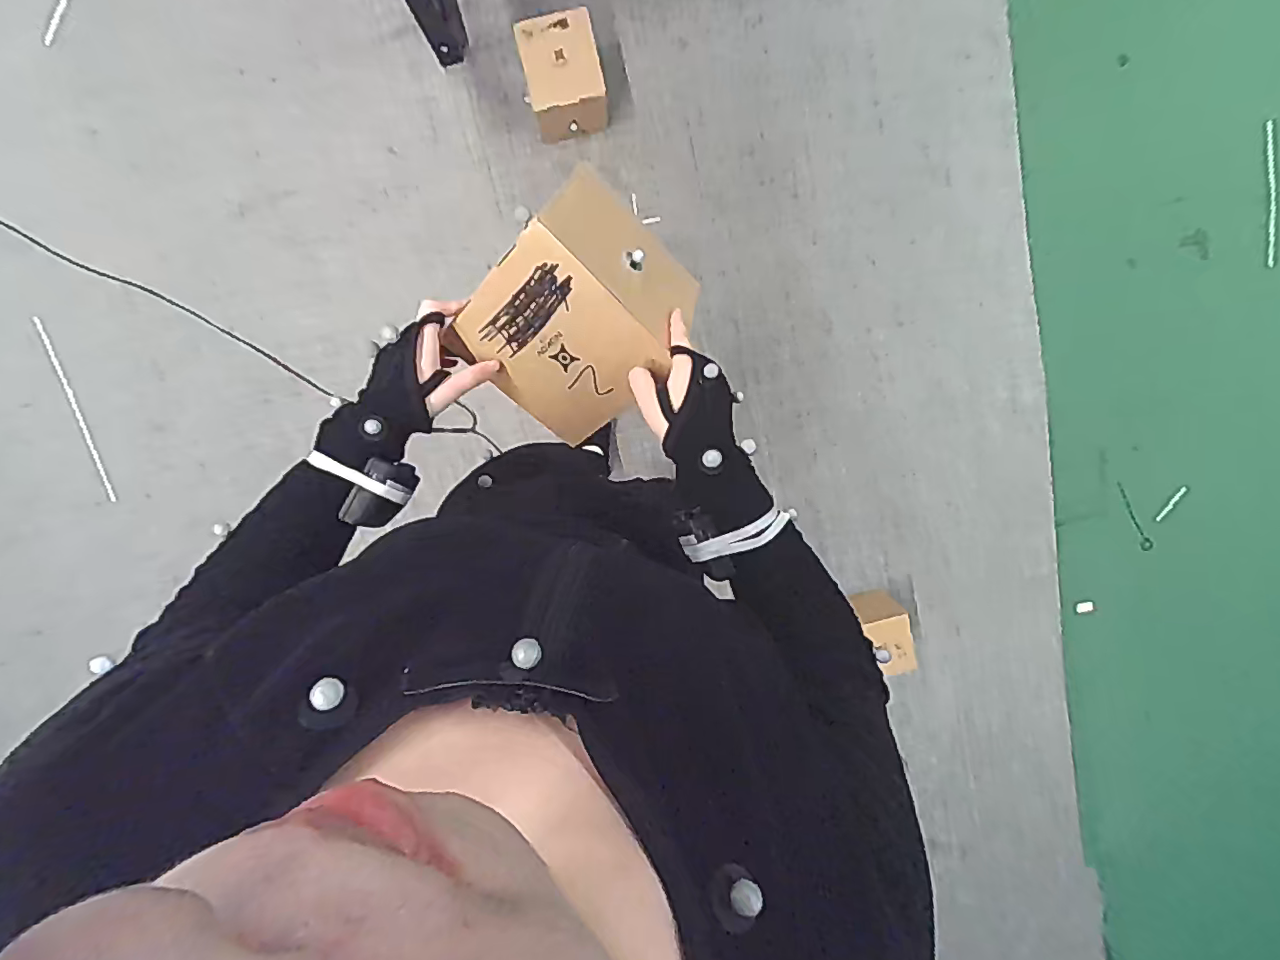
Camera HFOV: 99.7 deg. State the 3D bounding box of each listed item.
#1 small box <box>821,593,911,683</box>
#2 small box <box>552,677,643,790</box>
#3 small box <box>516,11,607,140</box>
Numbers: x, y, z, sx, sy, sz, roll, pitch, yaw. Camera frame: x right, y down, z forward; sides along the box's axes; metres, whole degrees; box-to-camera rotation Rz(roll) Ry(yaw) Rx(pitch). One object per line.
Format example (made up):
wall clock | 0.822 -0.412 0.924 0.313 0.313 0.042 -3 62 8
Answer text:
small box | 0.620 0.435 1.509 0.179 0.176 0.168 -14 101 1
small box | -0.102 0.626 1.356 0.179 0.176 0.168 -20 100 2
small box | -0.172 -0.916 1.246 0.168 0.176 0.179 -13 101 -1
